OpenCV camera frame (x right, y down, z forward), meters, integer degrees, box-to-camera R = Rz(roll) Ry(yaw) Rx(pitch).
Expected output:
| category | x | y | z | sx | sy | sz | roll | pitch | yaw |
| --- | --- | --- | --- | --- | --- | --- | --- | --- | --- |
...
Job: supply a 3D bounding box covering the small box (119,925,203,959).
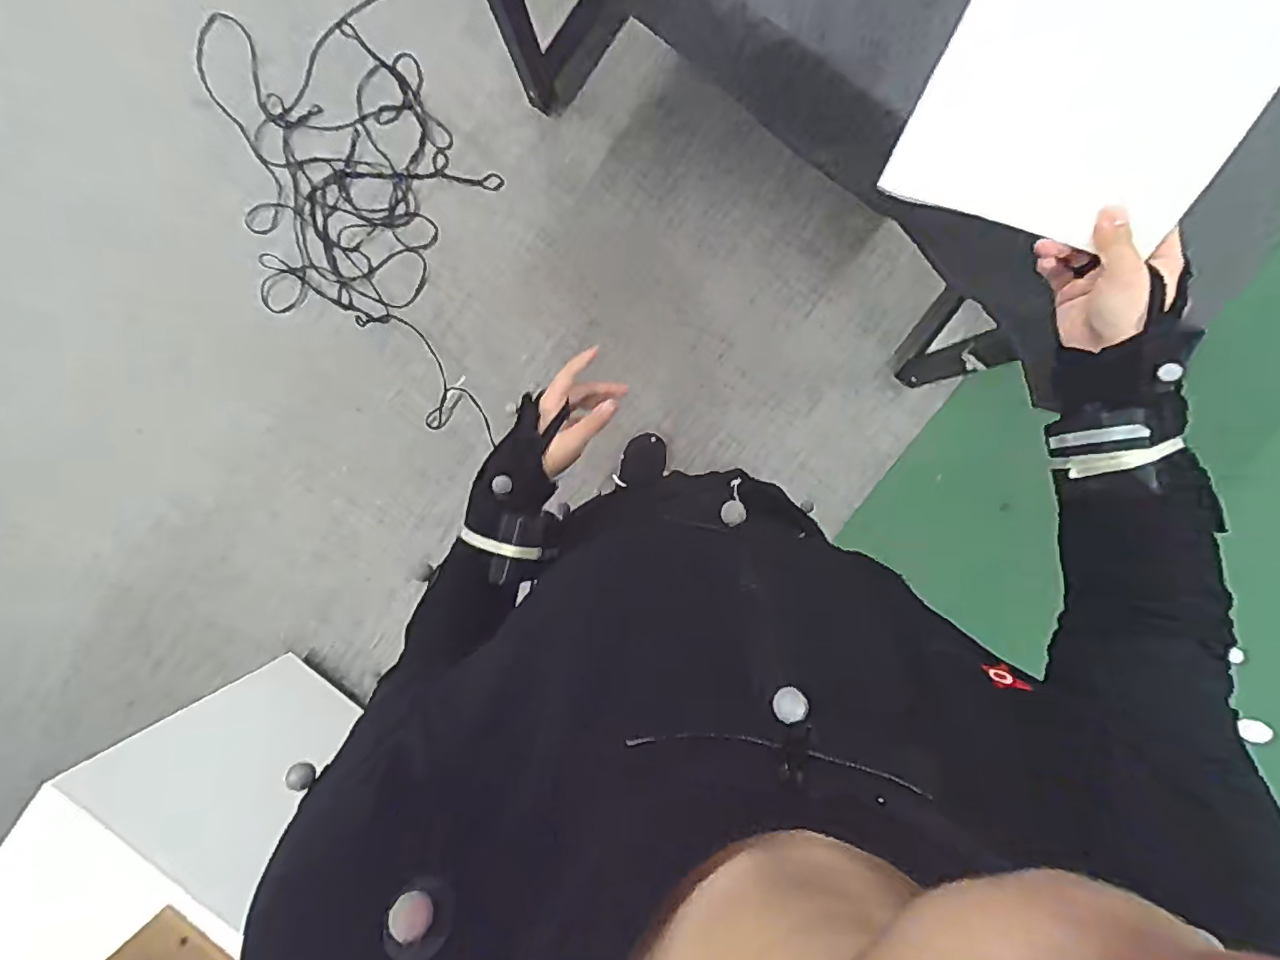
| category | x | y | z | sx | sy | sz | roll | pitch | yaw |
| --- | --- | --- | --- | --- | --- | --- | --- | --- | --- |
| small box | -0.740 | 0.804 | 0.769 | 0.168 | 0.176 | 0.179 | 39 | 96 | 3 |
